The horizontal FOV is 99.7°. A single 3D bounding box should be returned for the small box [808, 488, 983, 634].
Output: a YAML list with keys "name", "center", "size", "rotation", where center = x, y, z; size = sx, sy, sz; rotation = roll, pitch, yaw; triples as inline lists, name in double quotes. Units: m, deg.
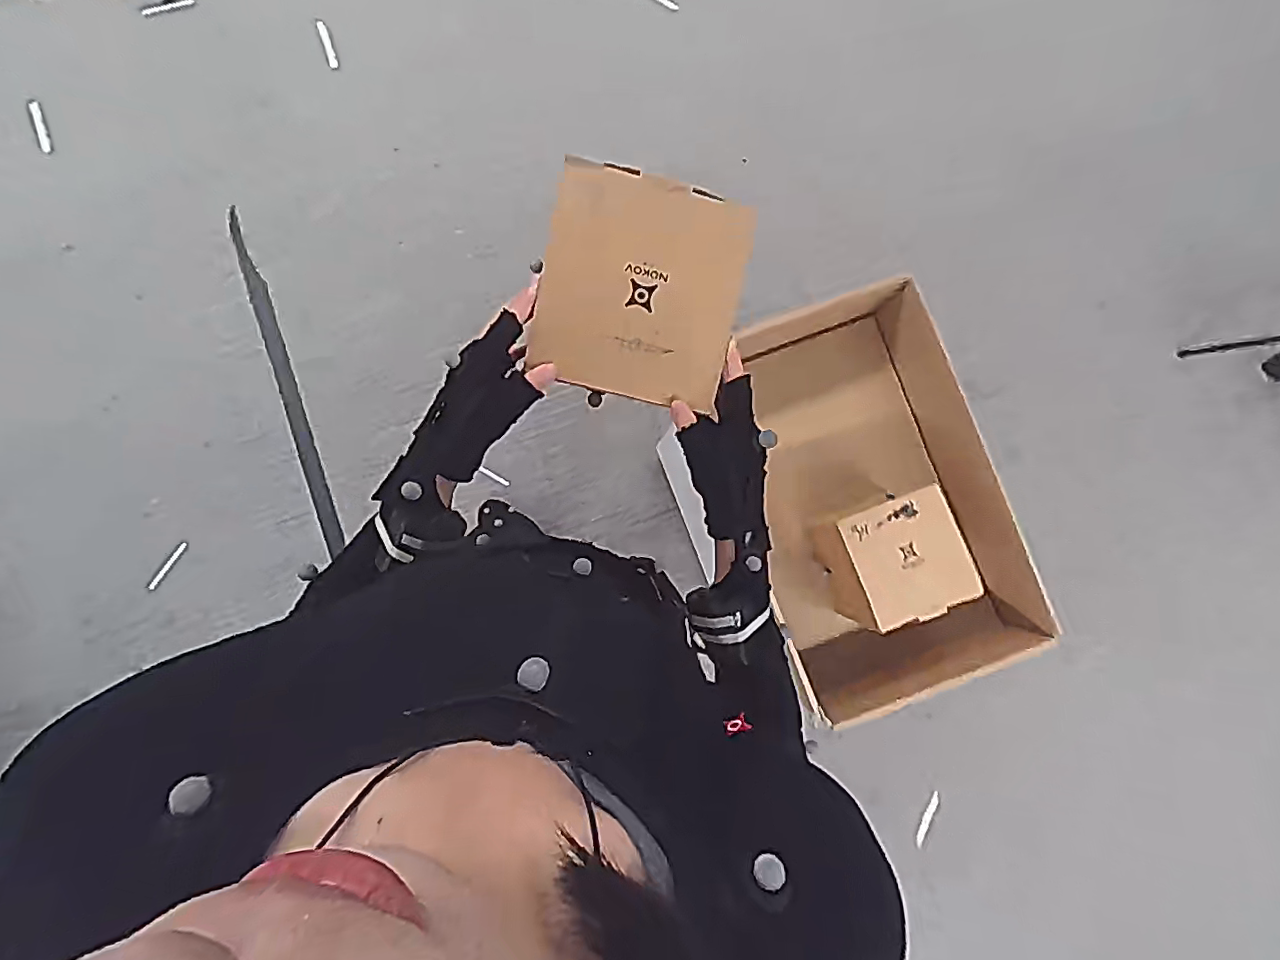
- name: "small box"
  center: [0.396, 0.123, 0.870]
  size: [0.168, 0.176, 0.179]
  rotation: [-20, 85, -2]

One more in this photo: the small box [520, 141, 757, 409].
- name: "small box"
  center: [-0.012, -0.174, 0.516]
  size: [0.168, 0.176, 0.179]
  rotation: [12, 98, -9]
